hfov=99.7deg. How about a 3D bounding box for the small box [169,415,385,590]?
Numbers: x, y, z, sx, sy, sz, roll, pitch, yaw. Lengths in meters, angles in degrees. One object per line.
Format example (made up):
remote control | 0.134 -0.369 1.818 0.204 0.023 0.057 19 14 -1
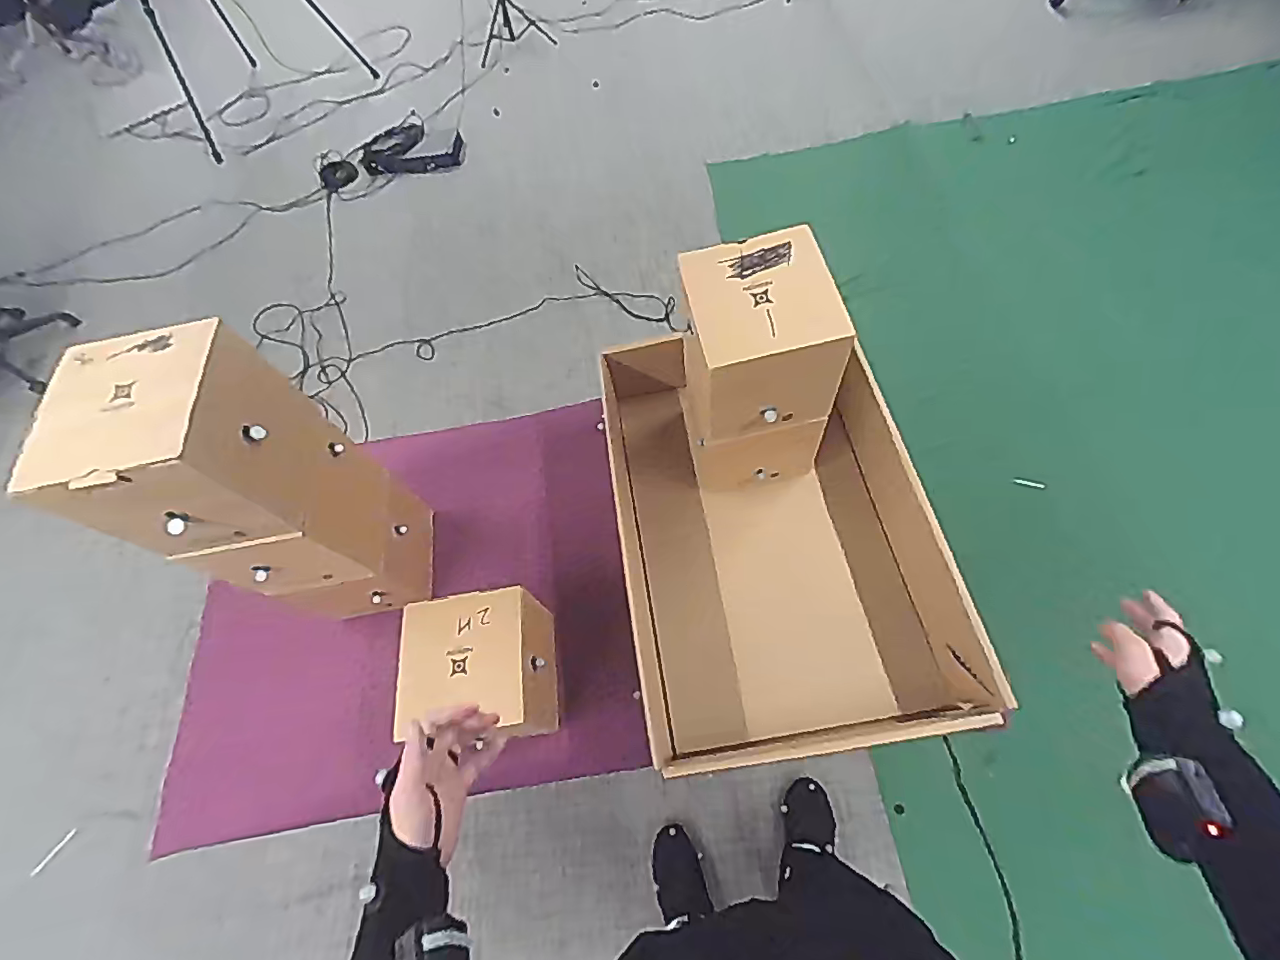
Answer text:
small box | -0.469 0.040 0.732 0.168 0.176 0.179 -10 62 1

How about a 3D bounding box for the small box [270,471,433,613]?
small box | -0.451 0.109 0.877 0.168 0.176 0.179 -10 62 2

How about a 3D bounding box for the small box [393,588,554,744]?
small box | -0.222 0.268 0.763 0.168 0.176 0.179 -9 62 2

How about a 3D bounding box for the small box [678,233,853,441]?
small box | 0.147 -0.176 0.695 0.168 0.176 0.179 -12 64 3

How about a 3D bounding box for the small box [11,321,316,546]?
small box | -0.487 -0.038 0.589 0.168 0.176 0.179 -11 63 1
